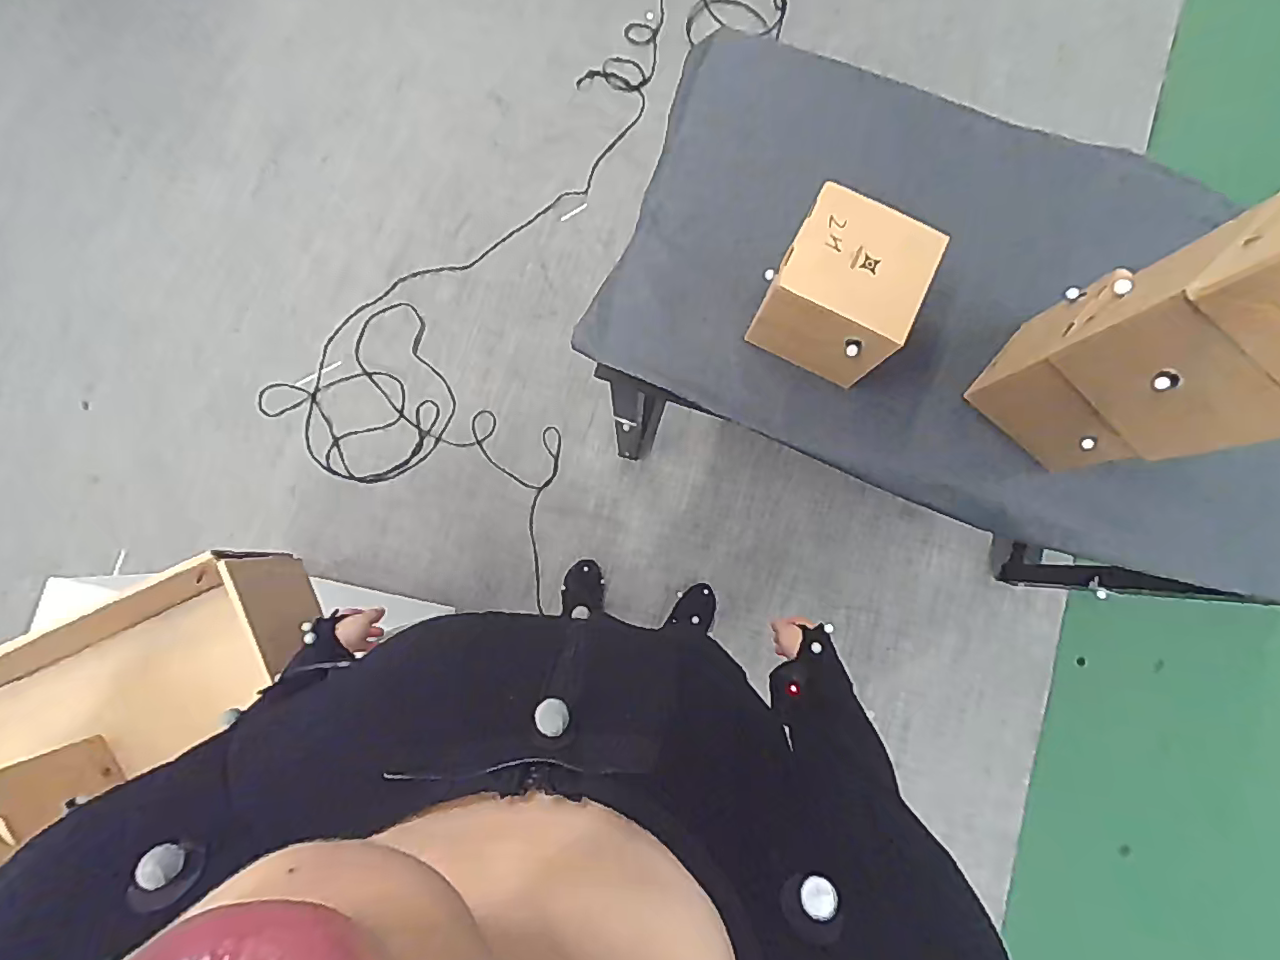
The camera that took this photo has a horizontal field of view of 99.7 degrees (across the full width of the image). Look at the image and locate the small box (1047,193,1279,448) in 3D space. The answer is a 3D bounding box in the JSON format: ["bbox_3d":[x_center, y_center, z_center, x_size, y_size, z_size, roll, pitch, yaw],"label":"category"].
[{"bbox_3d":[0.607,-0.151,0.579,0.168,0.176,0.179,-40,84,-7],"label":"small box"}]

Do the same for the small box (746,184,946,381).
[{"bbox_3d":[0.273,-0.258,0.753,0.179,0.176,0.168,26,81,3],"label":"small box"}]

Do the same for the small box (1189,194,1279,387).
[{"bbox_3d":[0.609,-0.176,0.418,0.168,0.176,0.179,-42,85,-8],"label":"small box"}]
